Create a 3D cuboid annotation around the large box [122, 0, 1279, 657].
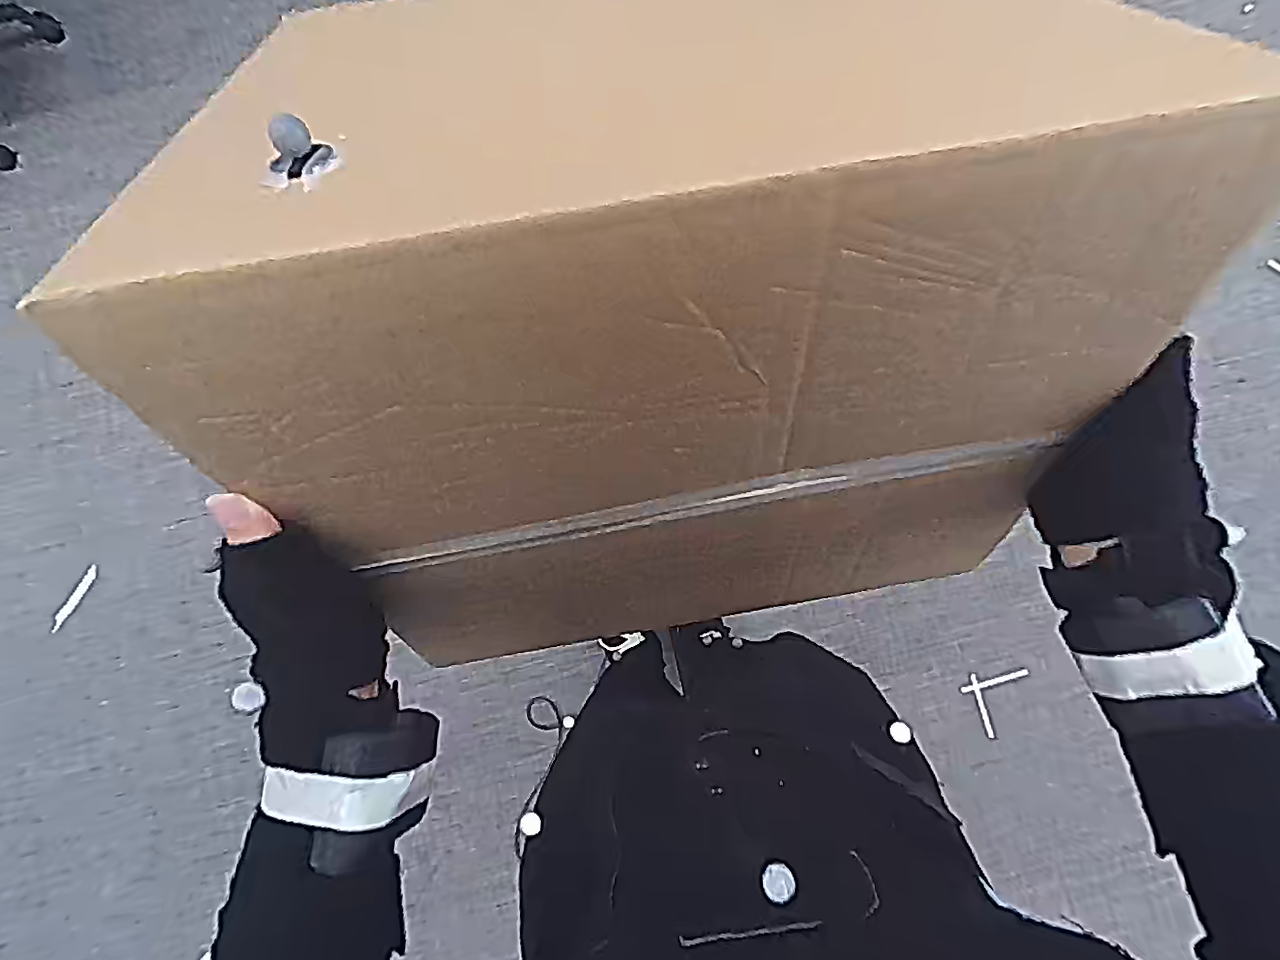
[{"bbox_3d":[0.014,-0.110,0.386,0.408,0.320,0.320,-10,52,-2],"label":"large box"}]
